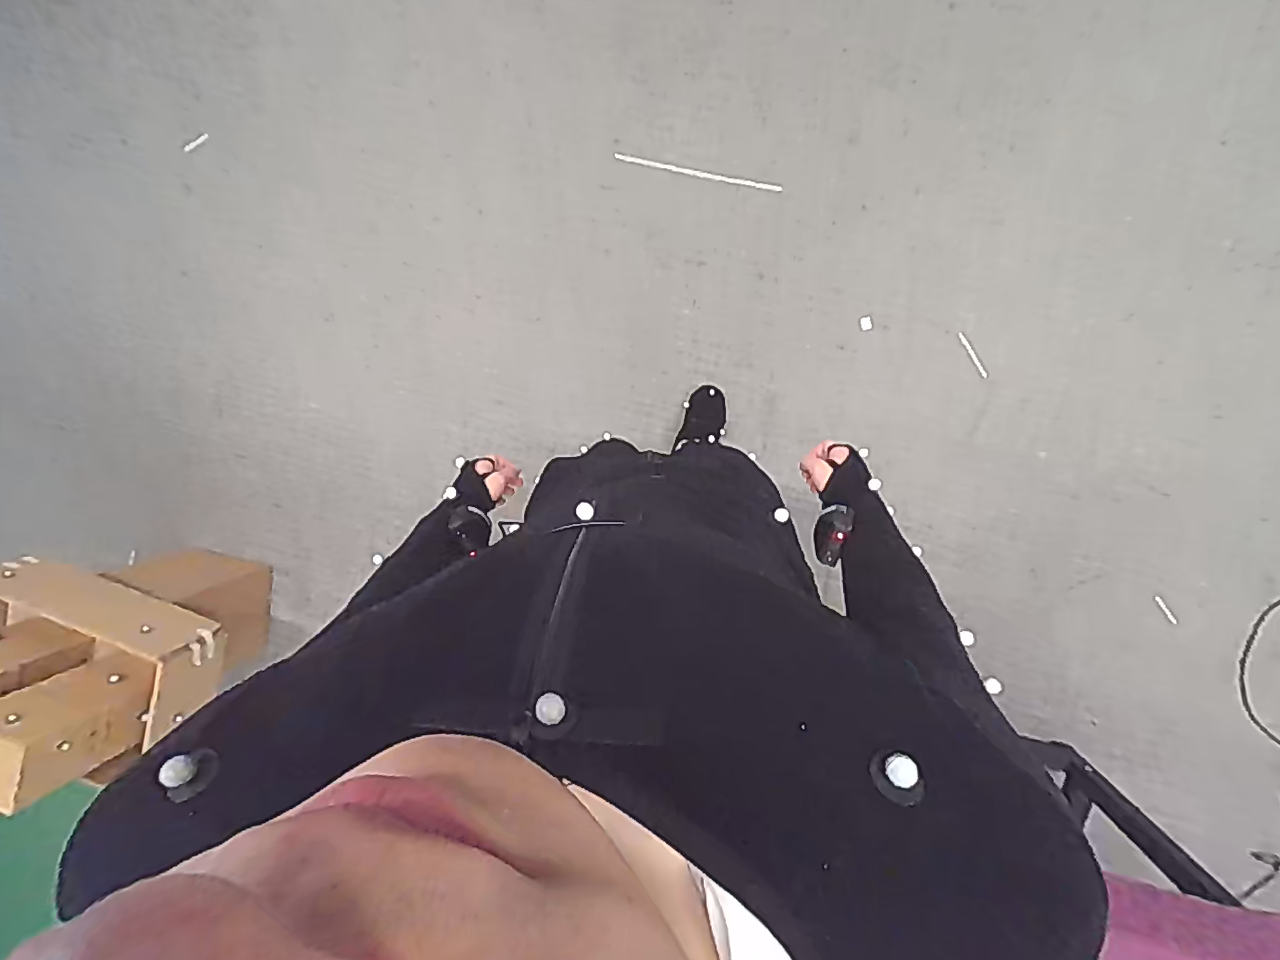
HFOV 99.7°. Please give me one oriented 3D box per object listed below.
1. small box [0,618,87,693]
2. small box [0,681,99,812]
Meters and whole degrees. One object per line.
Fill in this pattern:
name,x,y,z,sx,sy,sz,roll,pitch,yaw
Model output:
small box,-1.569,0.466,1.360,0.179,0.176,0.168,18,99,3
small box,-1.348,0.569,1.179,0.179,0.176,0.168,19,98,5
